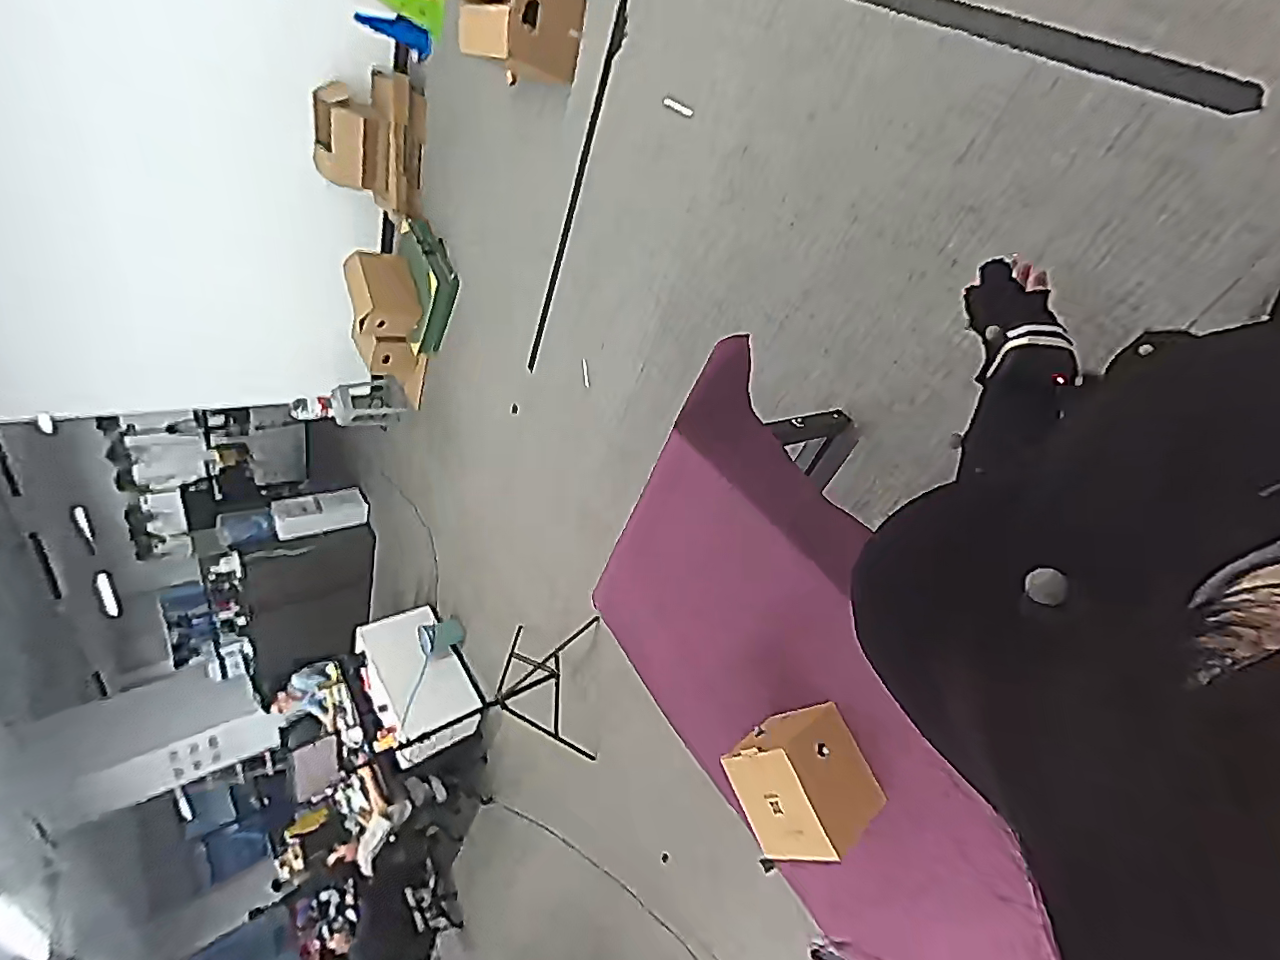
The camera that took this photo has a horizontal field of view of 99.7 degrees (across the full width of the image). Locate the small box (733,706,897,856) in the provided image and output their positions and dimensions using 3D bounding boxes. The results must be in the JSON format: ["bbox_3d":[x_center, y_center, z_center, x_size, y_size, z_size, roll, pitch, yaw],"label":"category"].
[{"bbox_3d":[0.303,0.514,0.943,0.168,0.176,0.179,-45,67,47],"label":"small box"}]
